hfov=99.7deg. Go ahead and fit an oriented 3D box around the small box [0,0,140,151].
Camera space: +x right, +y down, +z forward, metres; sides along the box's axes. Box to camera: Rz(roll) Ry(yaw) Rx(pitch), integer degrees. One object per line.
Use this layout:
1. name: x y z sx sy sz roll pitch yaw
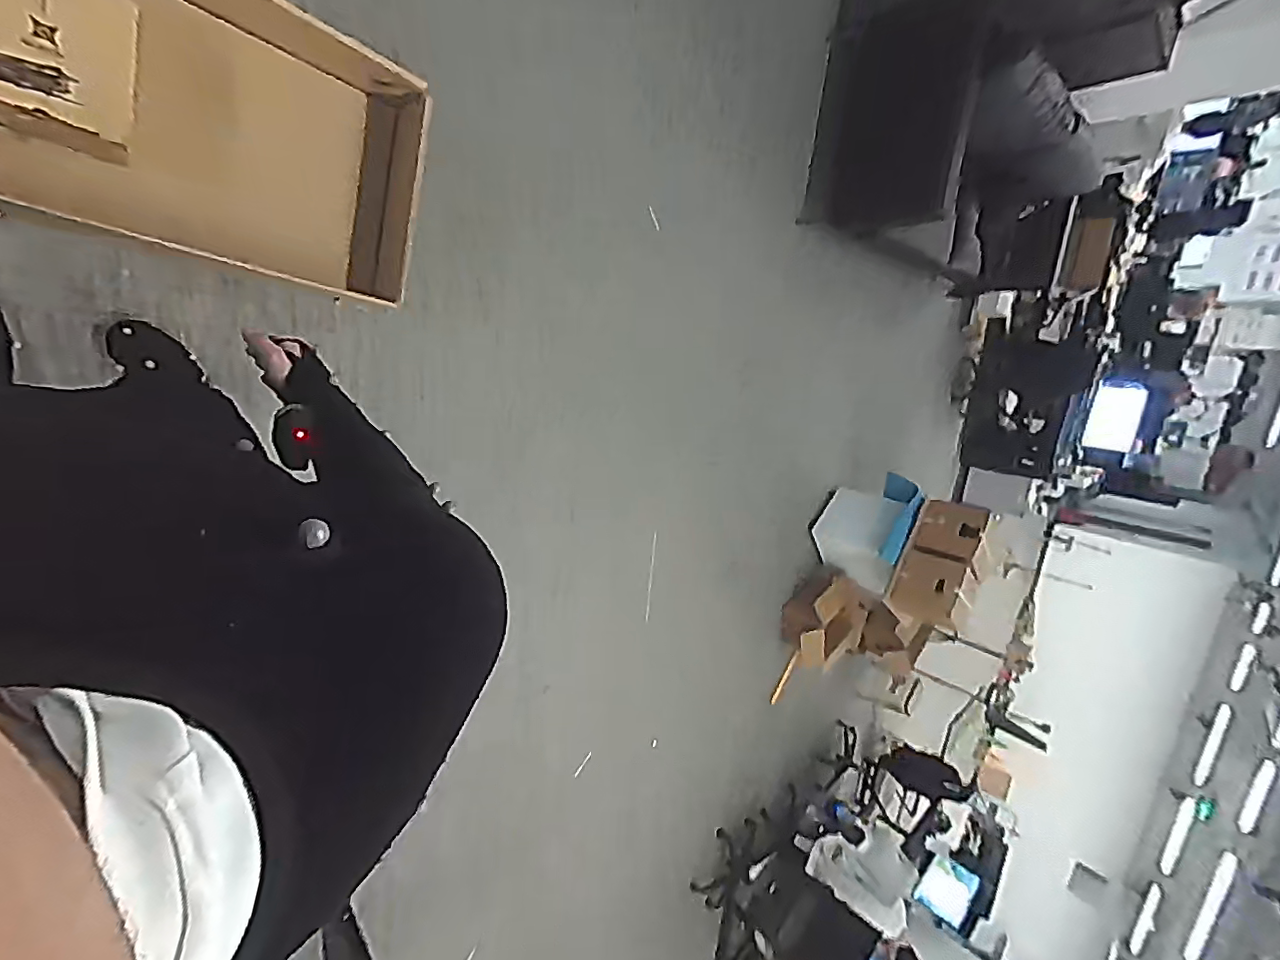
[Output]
1. small box: -0.774 -0.566 0.708 0.168 0.176 0.179 4 101 -44
